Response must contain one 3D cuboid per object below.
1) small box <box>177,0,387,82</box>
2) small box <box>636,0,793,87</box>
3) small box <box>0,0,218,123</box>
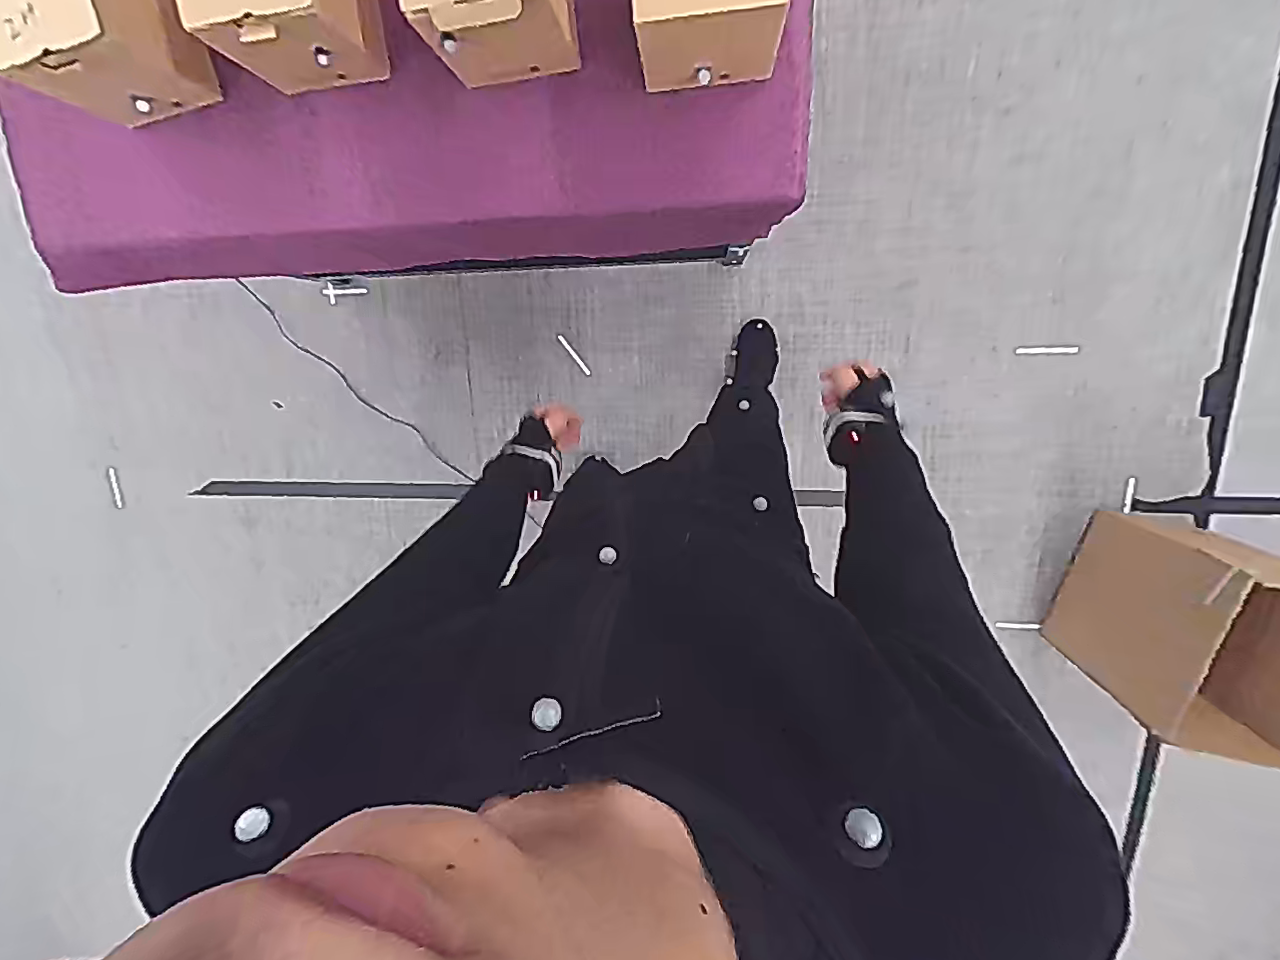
[{"bbox_3d":[-0.440,-0.626,0.668,0.168,0.176,0.179,-3,103,6],"label":"small box"},{"bbox_3d":[0.081,-0.592,0.618,0.168,0.176,0.179,-2,104,7],"label":"small box"},{"bbox_3d":[-0.708,-0.606,0.698,0.168,0.176,0.179,-10,103,9],"label":"small box"}]
